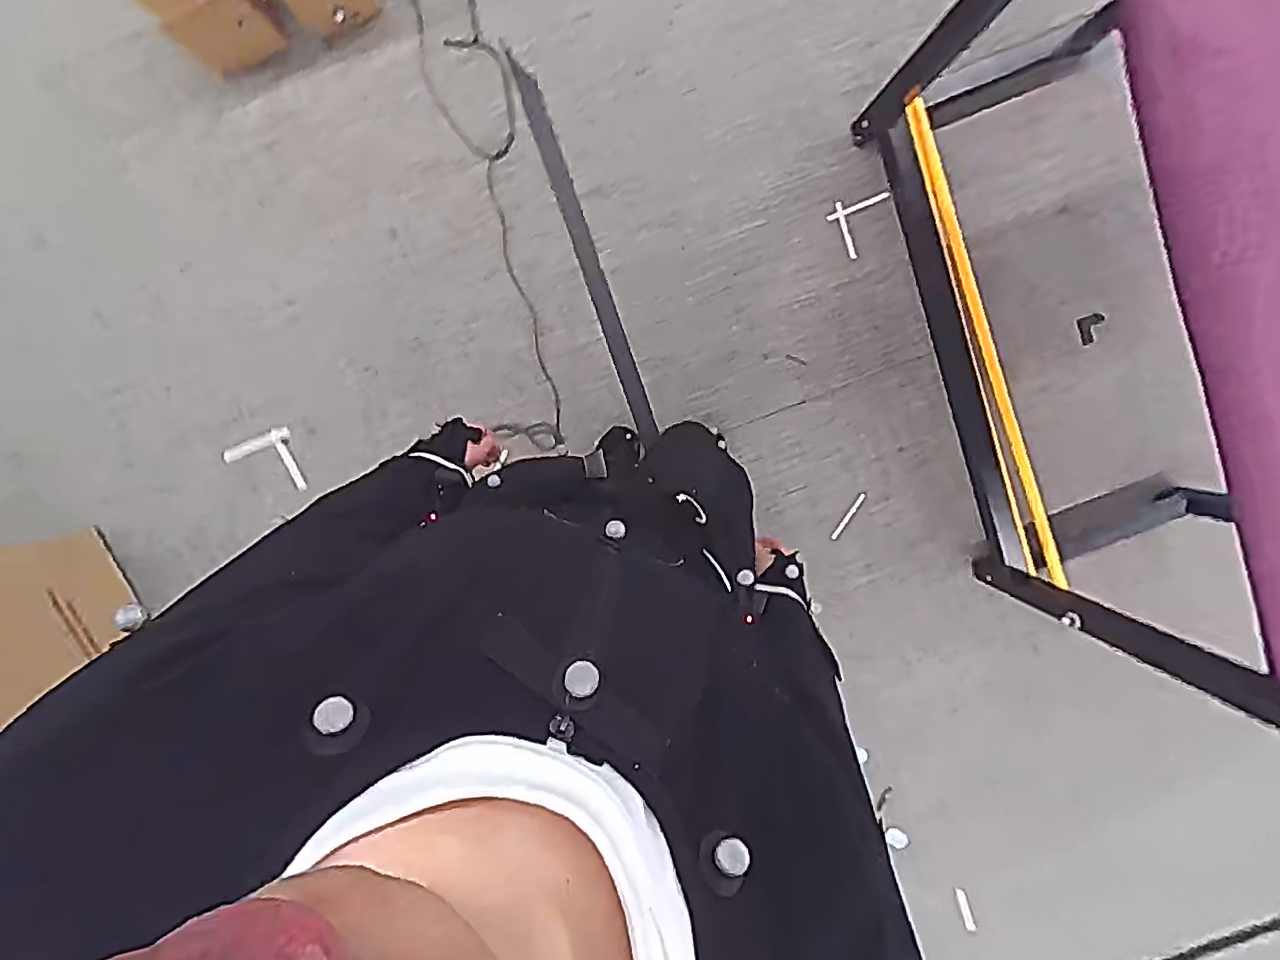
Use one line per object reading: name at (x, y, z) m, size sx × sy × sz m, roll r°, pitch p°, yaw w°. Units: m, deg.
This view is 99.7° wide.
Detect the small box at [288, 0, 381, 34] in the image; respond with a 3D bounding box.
small box at (-0.658, -1.060, 1.082) m, size 0.168 × 0.176 × 0.179 m, roll -20°, pitch 100°, yaw 1°

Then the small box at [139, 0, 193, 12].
small box at (-0.862, -0.961, 0.925) m, size 0.168 × 0.176 × 0.179 m, roll -25°, pitch 99°, yaw 2°
